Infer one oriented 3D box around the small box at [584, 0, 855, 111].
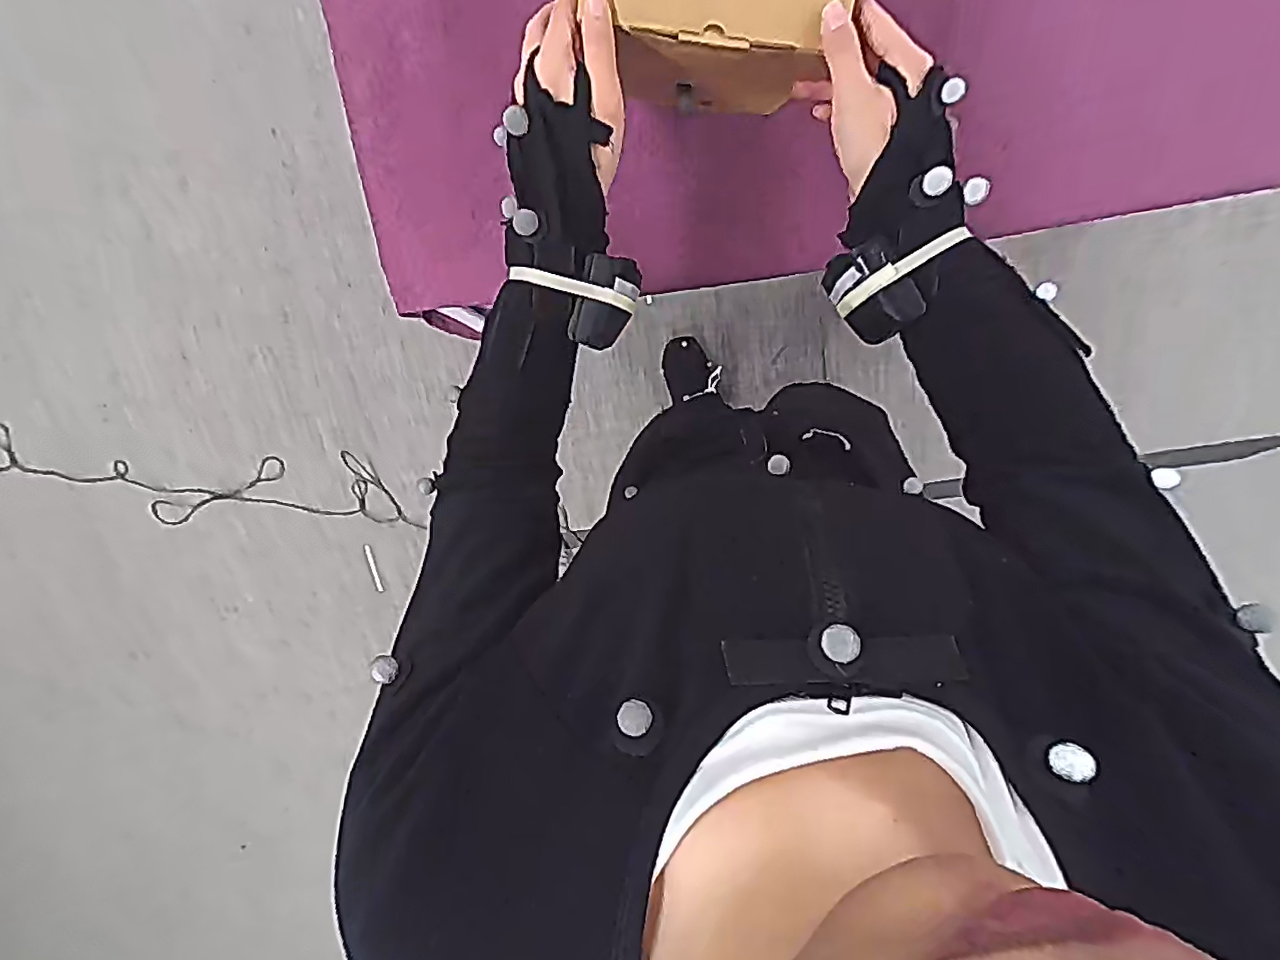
[{"bbox_3d":[0.048,-0.381,0.368,0.168,0.176,0.179,3,113,-5],"label":"small box"}]
